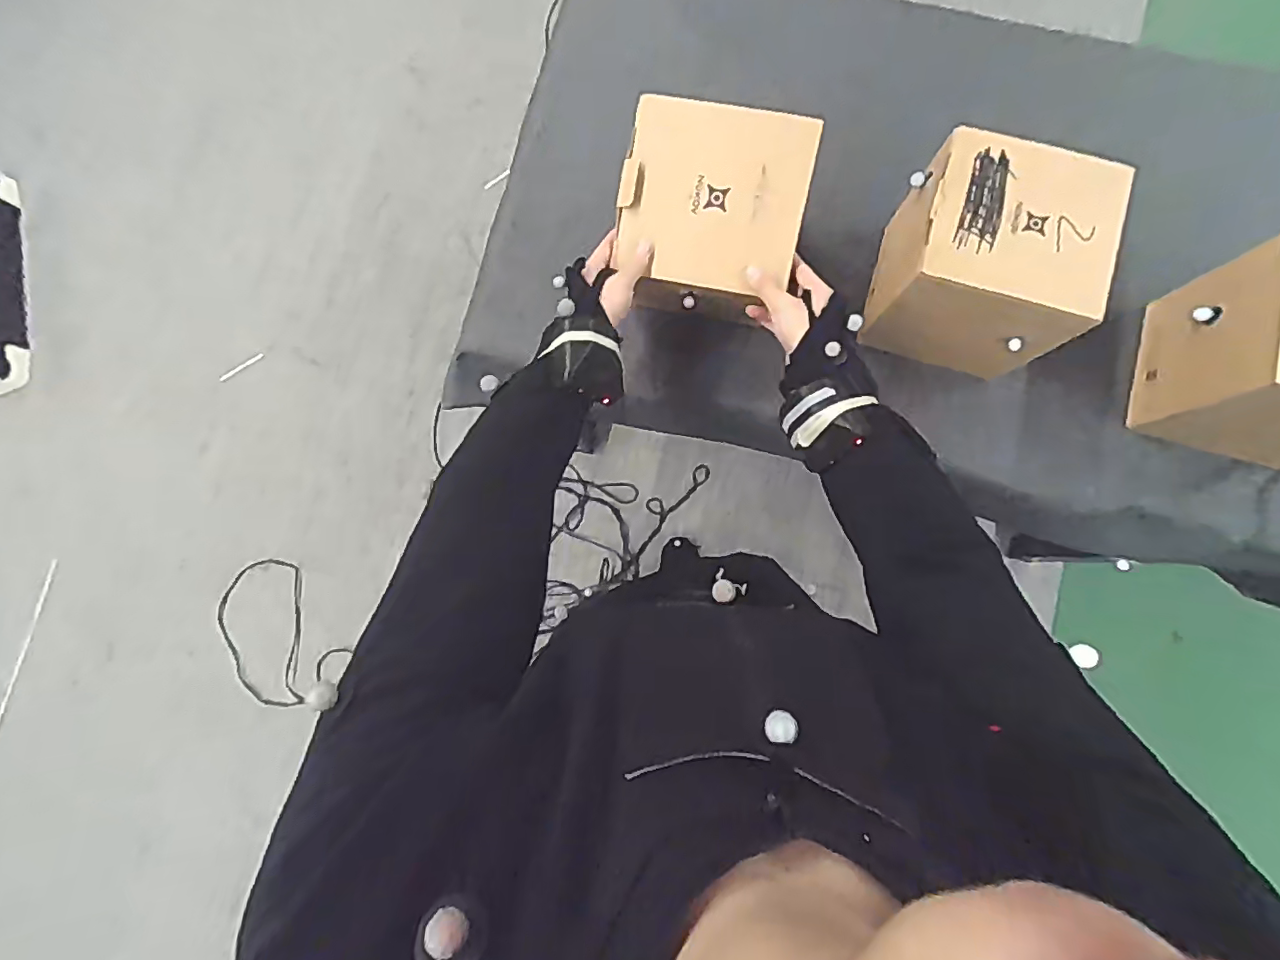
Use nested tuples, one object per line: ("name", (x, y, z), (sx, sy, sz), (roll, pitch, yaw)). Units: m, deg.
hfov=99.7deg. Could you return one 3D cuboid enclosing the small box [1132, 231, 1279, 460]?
("small box", (0.676, -0.129, 0.565), (0.179, 0.176, 0.168), (16, 83, 4))
